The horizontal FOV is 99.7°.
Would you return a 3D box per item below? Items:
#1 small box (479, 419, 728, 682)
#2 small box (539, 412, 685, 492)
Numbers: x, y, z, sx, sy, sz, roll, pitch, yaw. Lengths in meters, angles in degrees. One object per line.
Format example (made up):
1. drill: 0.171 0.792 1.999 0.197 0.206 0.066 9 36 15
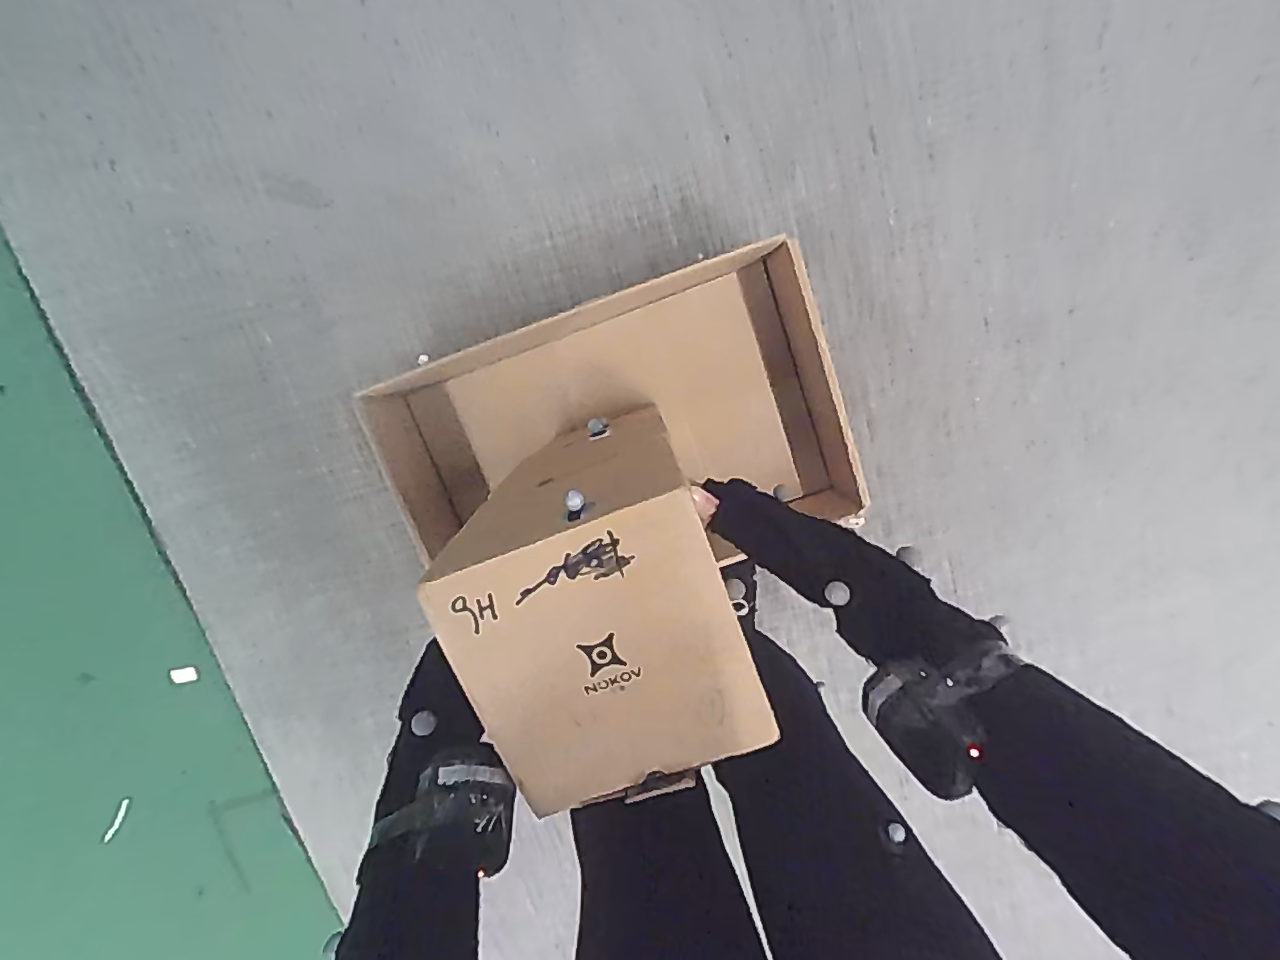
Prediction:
1. small box: -0.028 0.058 0.542 0.168 0.176 0.179 -24 104 6
2. small box: -0.029 0.005 0.805 0.179 0.176 0.168 -18 100 6
